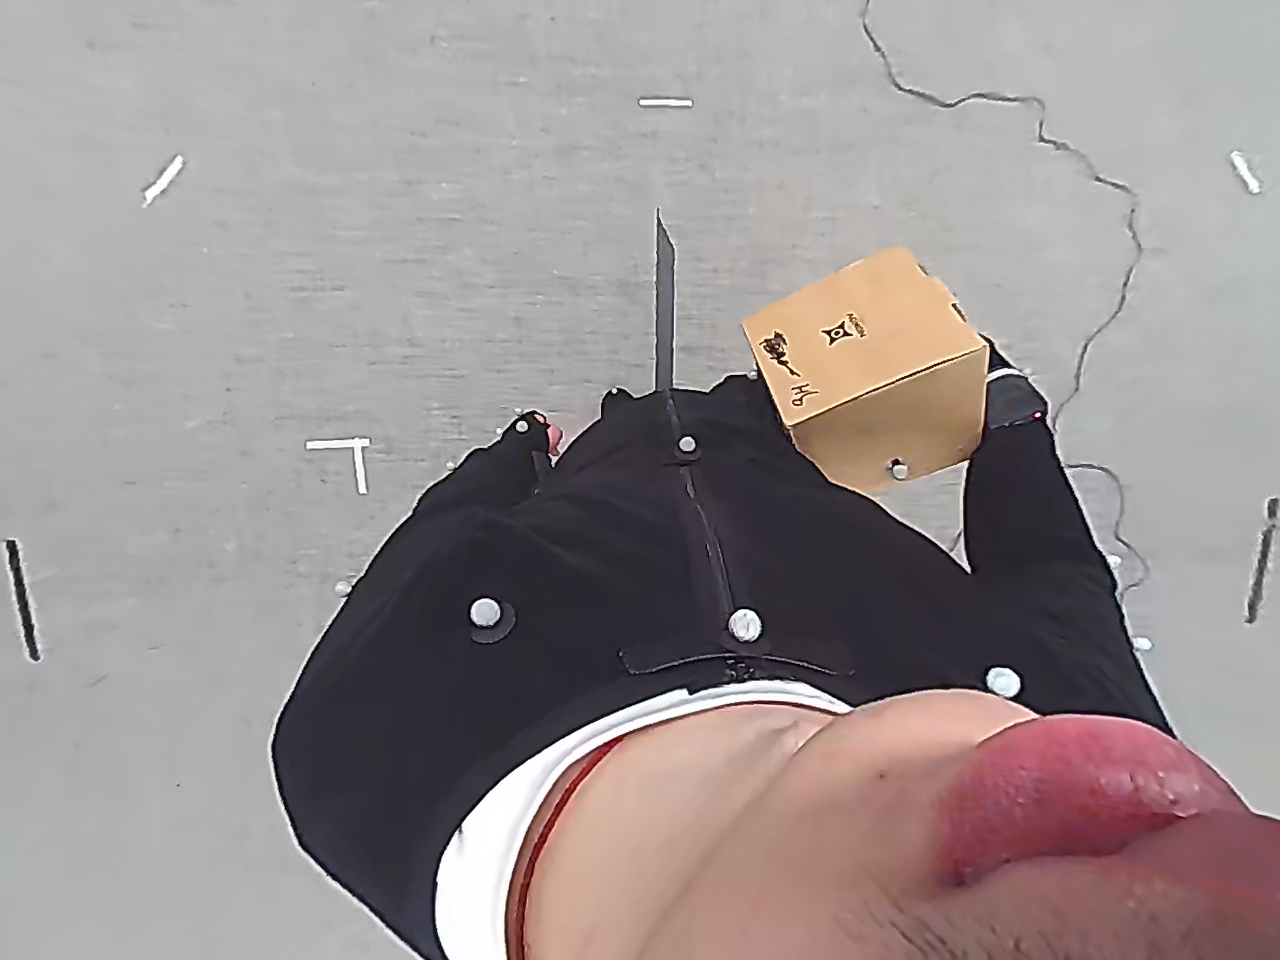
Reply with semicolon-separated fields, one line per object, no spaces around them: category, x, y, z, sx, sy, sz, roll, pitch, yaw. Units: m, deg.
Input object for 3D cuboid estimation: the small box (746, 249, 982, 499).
small box;0.238;-0.106;0.593;0.179;0.168;0.176;-22;140;14
